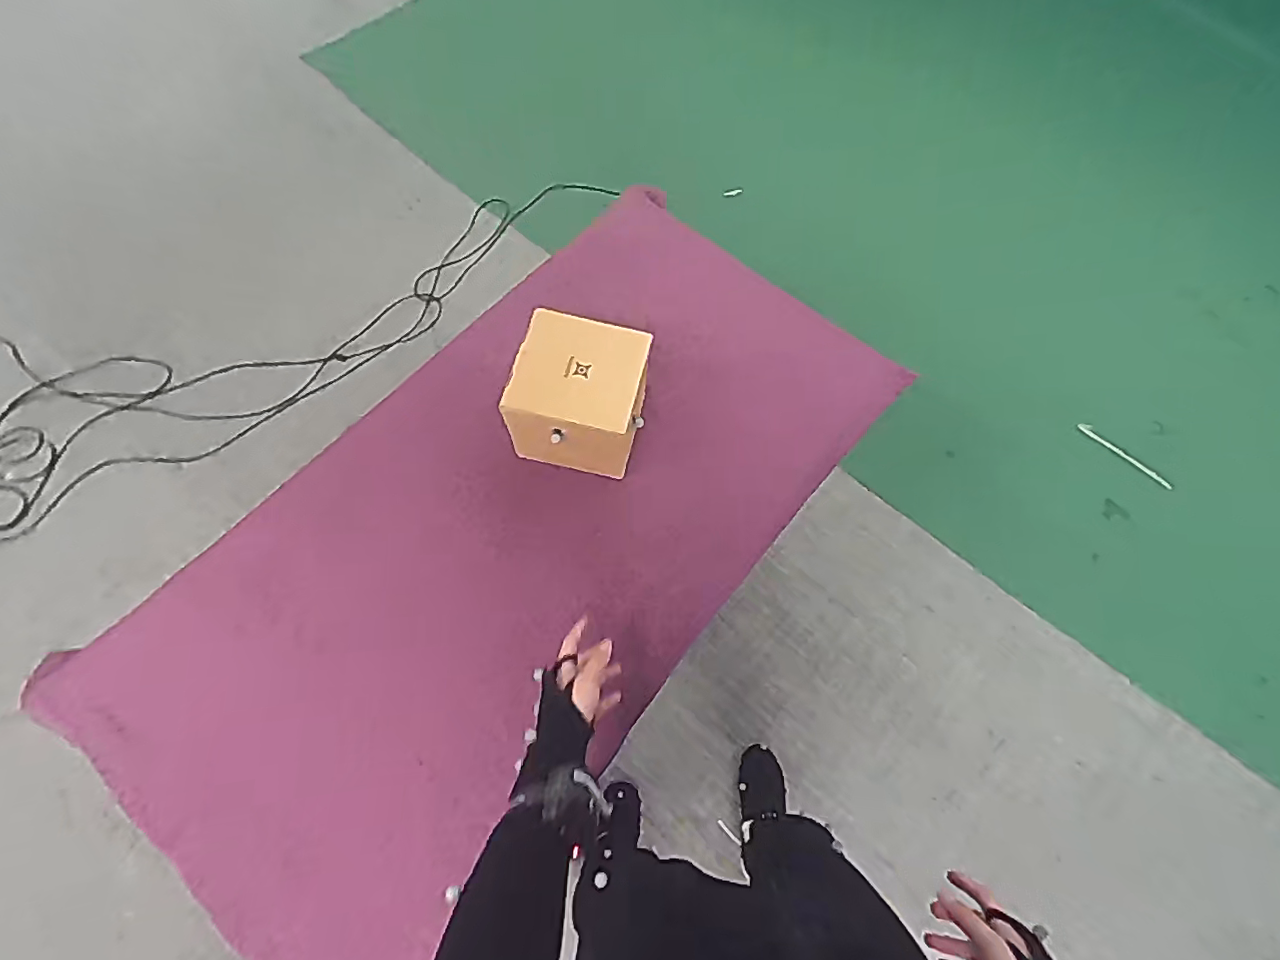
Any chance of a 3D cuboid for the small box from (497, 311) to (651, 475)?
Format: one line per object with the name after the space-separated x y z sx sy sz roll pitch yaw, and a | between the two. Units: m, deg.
-0.089 -0.119 0.809 0.179 0.176 0.168 13 70 3 | small box
